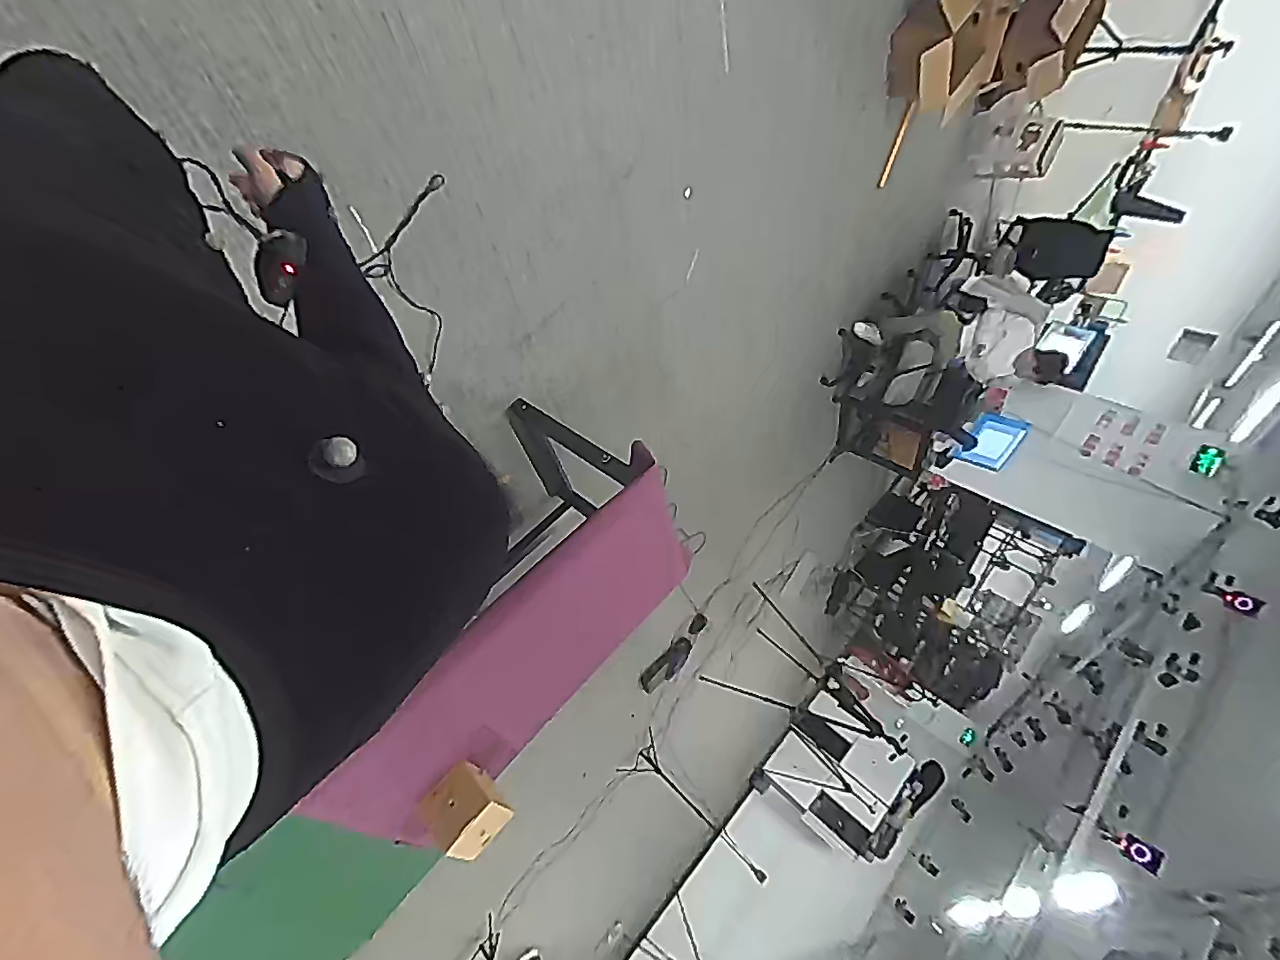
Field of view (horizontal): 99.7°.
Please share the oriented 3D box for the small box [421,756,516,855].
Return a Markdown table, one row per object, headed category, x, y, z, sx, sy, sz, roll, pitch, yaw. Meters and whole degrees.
| category | x | y | z | sx | sy | sz | roll | pitch | yaw |
| --- | --- | --- | --- | --- | --- | --- | --- | --- | --- |
| small box | -0.498 | 0.935 | 1.564 | 0.168 | 0.176 | 0.179 | -43 | 142 | -21 |
